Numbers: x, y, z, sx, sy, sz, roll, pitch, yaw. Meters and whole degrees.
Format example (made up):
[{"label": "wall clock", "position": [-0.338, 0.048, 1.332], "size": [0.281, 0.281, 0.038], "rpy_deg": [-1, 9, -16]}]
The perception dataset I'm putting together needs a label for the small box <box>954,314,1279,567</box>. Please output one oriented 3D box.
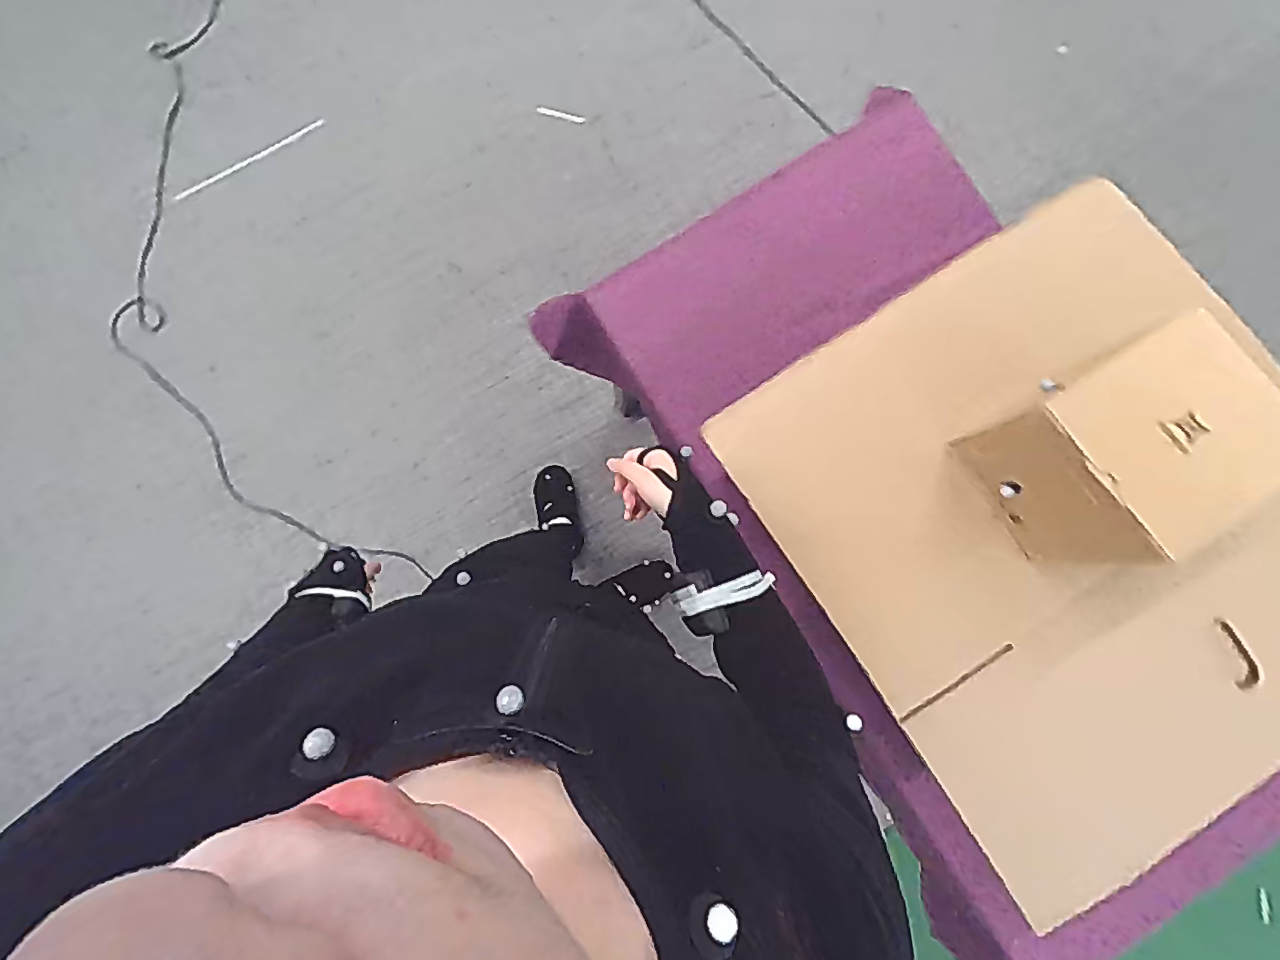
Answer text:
[{"label": "small box", "position": [0.472, -0.028, 0.549], "size": [0.179, 0.176, 0.168], "rpy_deg": [-32, 81, -1]}]
